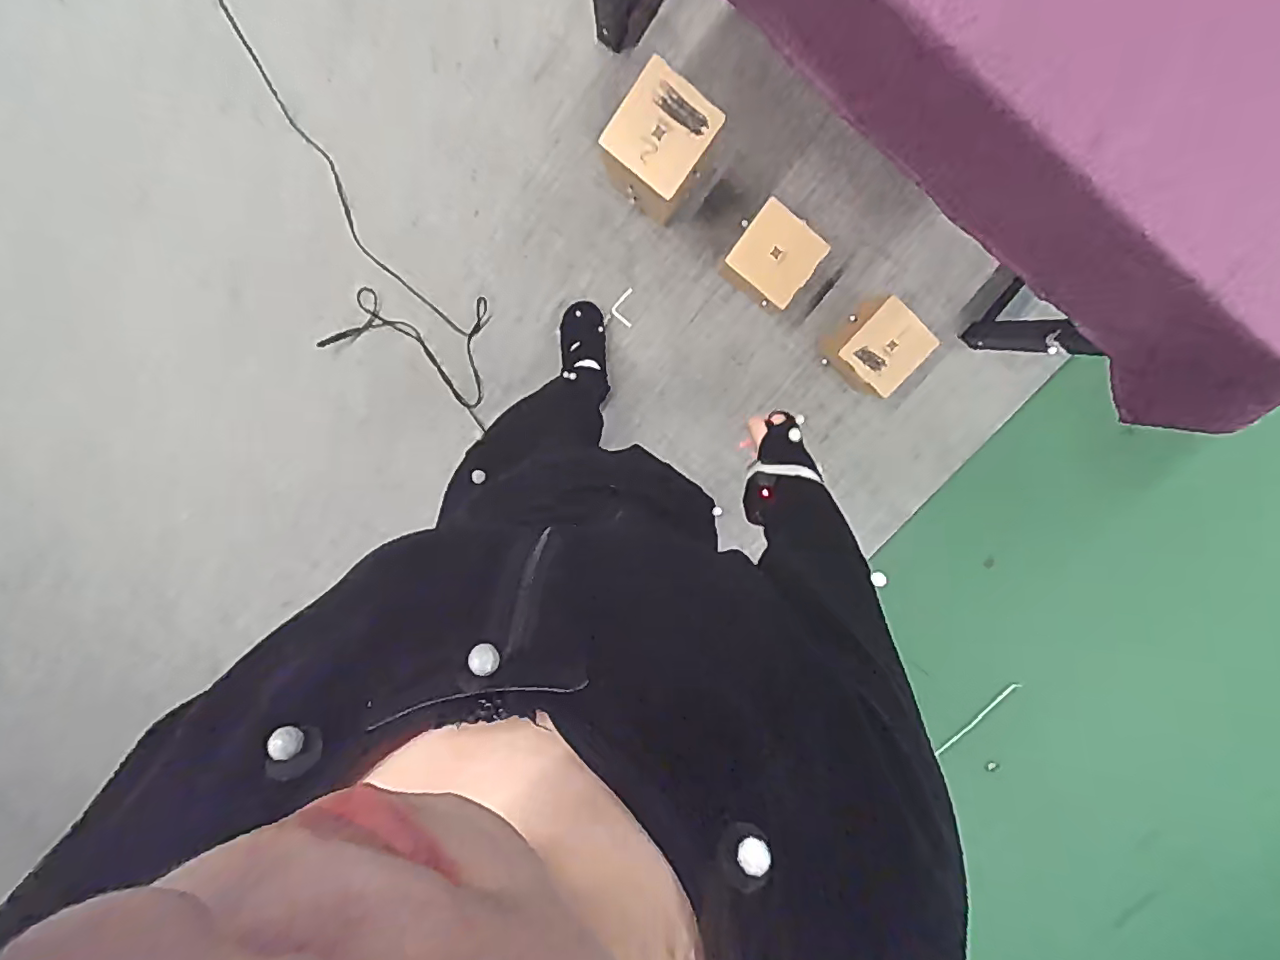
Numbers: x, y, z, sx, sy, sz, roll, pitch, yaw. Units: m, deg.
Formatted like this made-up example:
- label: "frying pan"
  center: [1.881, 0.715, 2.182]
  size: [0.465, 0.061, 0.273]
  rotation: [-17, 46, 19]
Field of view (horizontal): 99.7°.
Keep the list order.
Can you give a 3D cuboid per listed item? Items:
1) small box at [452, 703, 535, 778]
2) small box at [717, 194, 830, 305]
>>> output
- label: "small box"
  center: [-0.437, 0.824, 1.649]
  size: [0.168, 0.176, 0.179]
  rotation: [37, 103, -9]
- label: "small box"
  center: [0.300, -0.523, 1.262]
  size: [0.179, 0.176, 0.168]
  rotation: [36, 103, -10]
